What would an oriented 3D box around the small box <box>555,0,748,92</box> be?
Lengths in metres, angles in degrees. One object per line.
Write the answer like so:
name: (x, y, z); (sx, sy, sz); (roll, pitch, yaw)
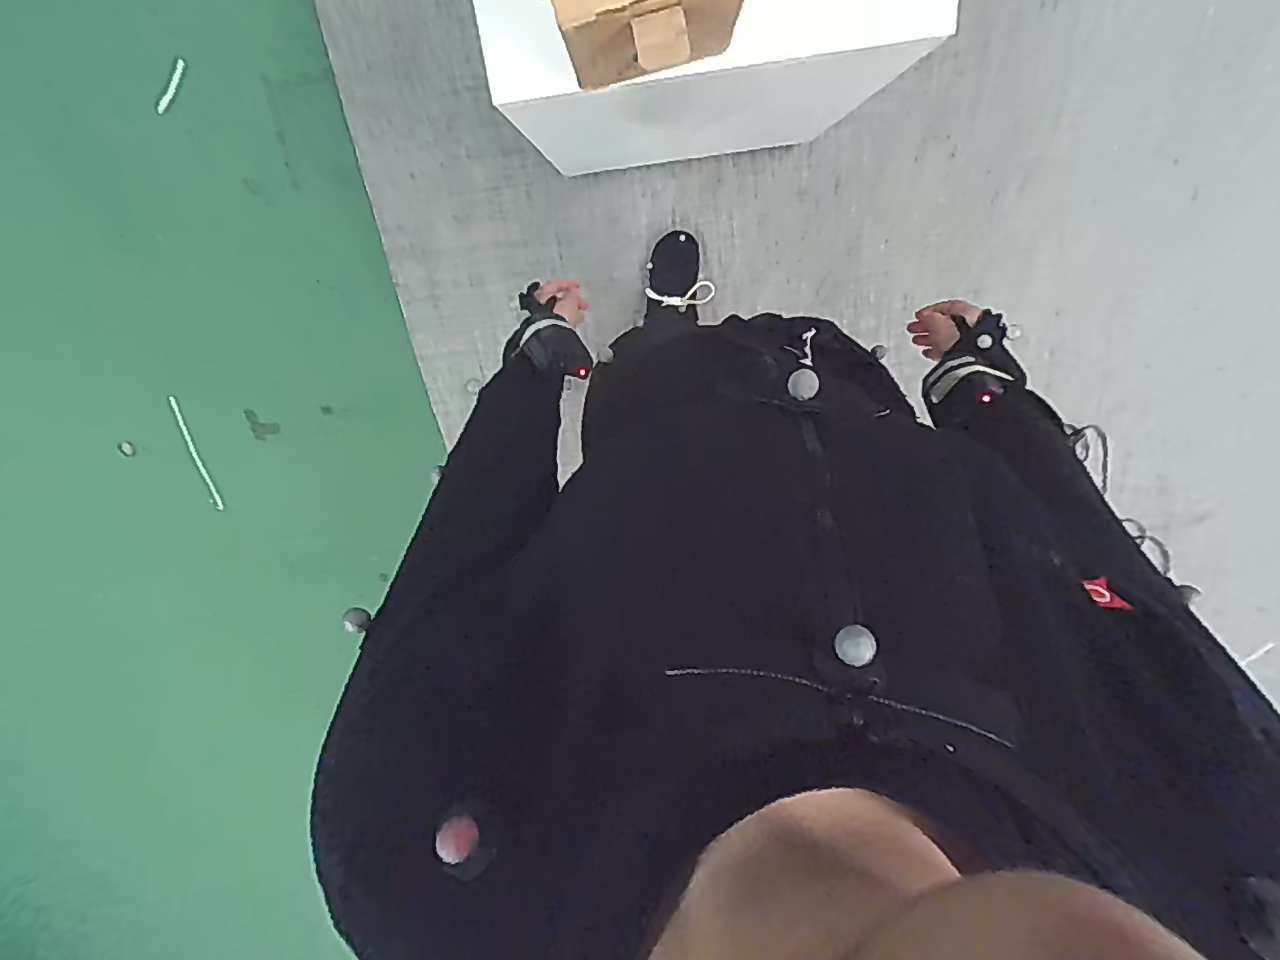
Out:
small box: (-0.004, -0.492, 0.486); (0.168, 0.176, 0.179); (-12, 111, 5)
